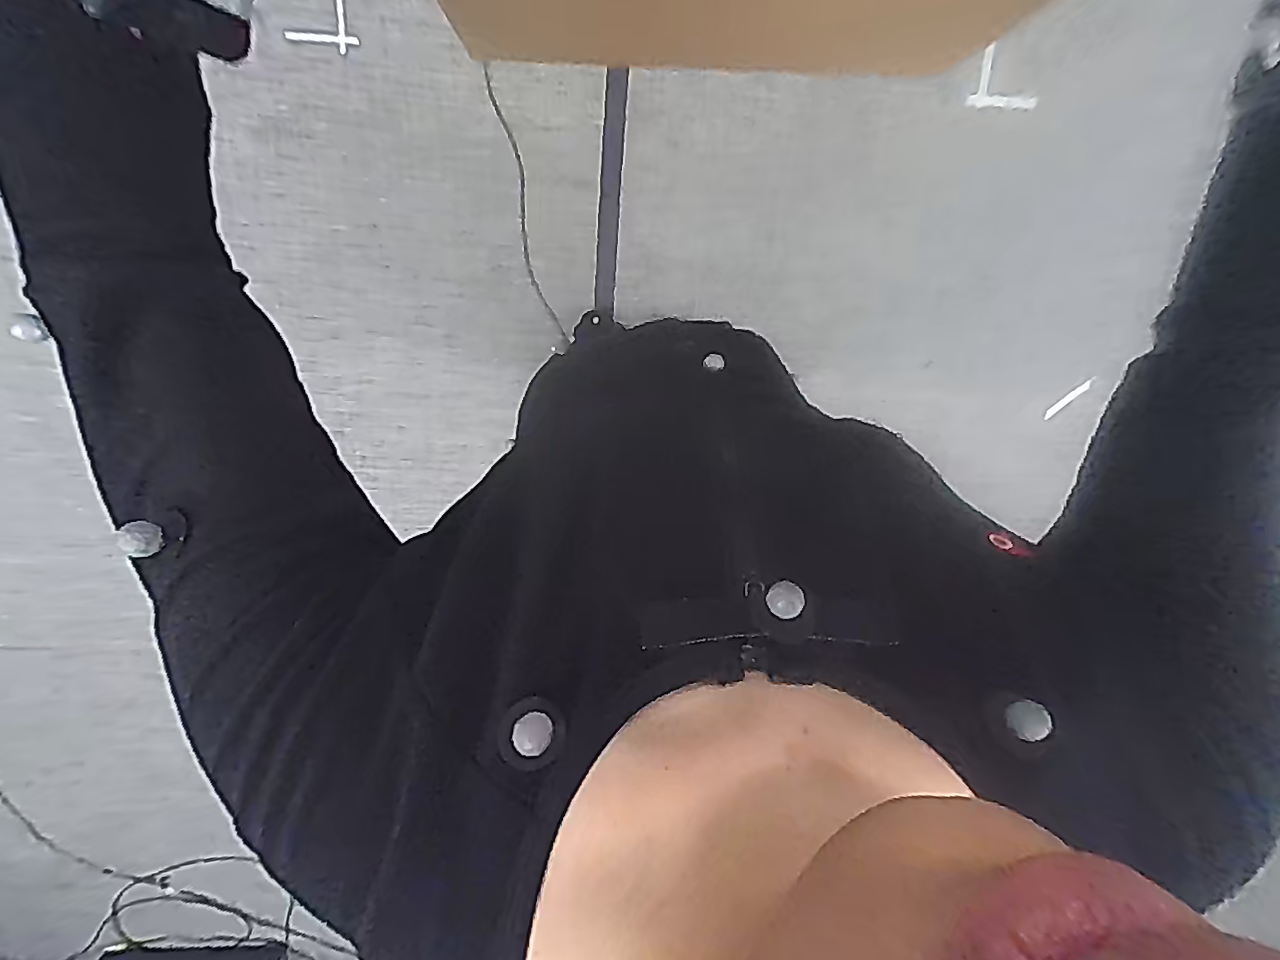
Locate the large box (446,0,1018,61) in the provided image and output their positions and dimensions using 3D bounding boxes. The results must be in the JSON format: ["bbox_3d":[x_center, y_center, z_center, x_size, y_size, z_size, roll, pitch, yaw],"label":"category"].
[{"bbox_3d":[0.067,-0.446,0.260,0.408,0.320,0.320,-1,109,-4],"label":"large box"}]
